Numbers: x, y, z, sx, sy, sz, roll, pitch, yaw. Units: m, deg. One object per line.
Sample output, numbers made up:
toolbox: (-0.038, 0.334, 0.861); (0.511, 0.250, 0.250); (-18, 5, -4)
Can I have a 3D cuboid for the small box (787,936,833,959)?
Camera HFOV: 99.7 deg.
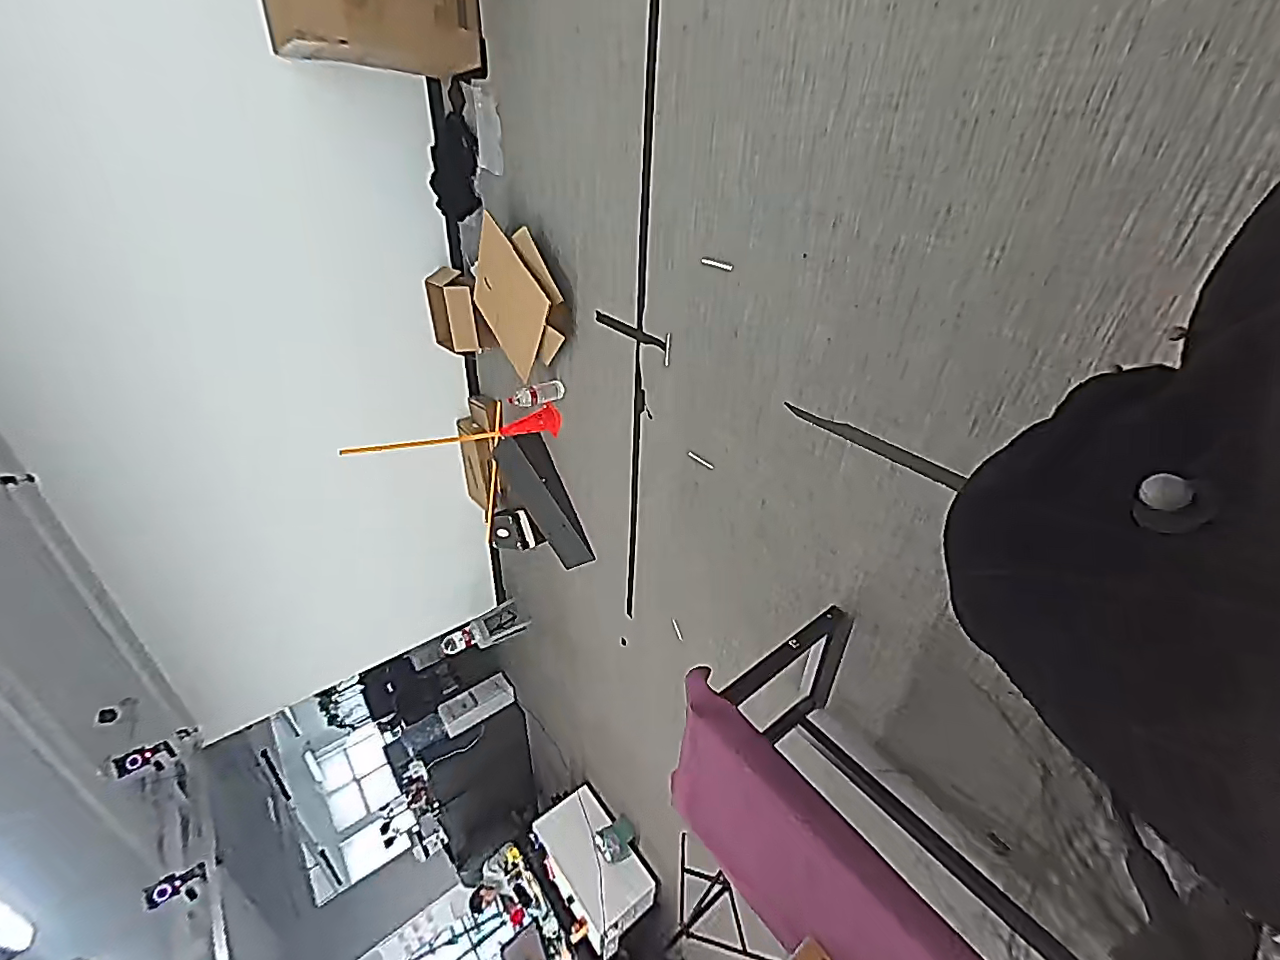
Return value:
small box: (0.450, 1.368, 1.432); (0.168, 0.176, 0.179); (39, 137, 37)
